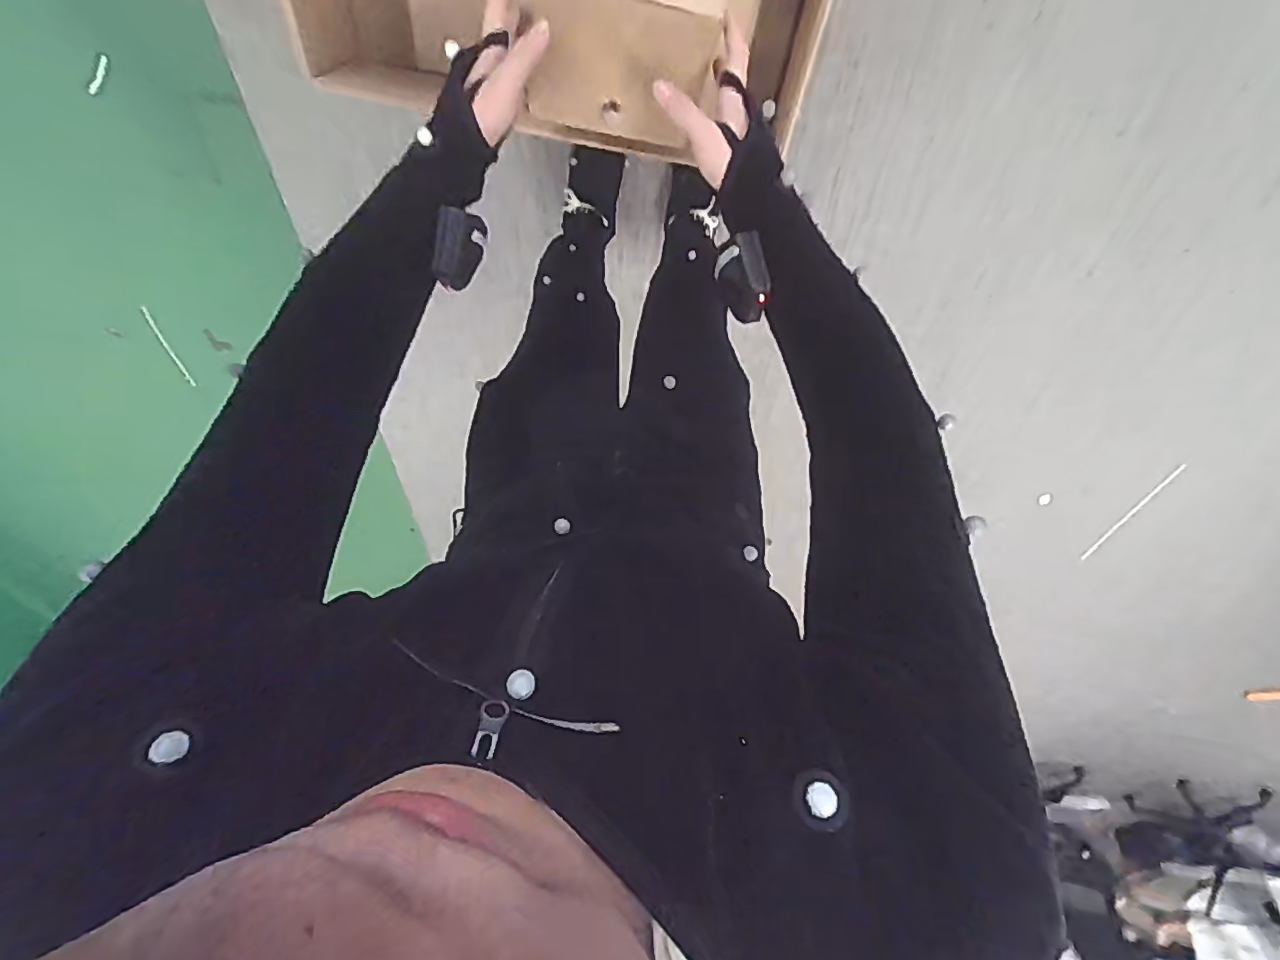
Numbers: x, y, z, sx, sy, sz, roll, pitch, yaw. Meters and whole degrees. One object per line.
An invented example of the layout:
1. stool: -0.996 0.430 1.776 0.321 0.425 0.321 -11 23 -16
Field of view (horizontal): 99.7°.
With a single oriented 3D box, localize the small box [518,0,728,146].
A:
1. small box: -0.016 -0.462 0.523 0.179 0.168 0.176 6 177 -7
